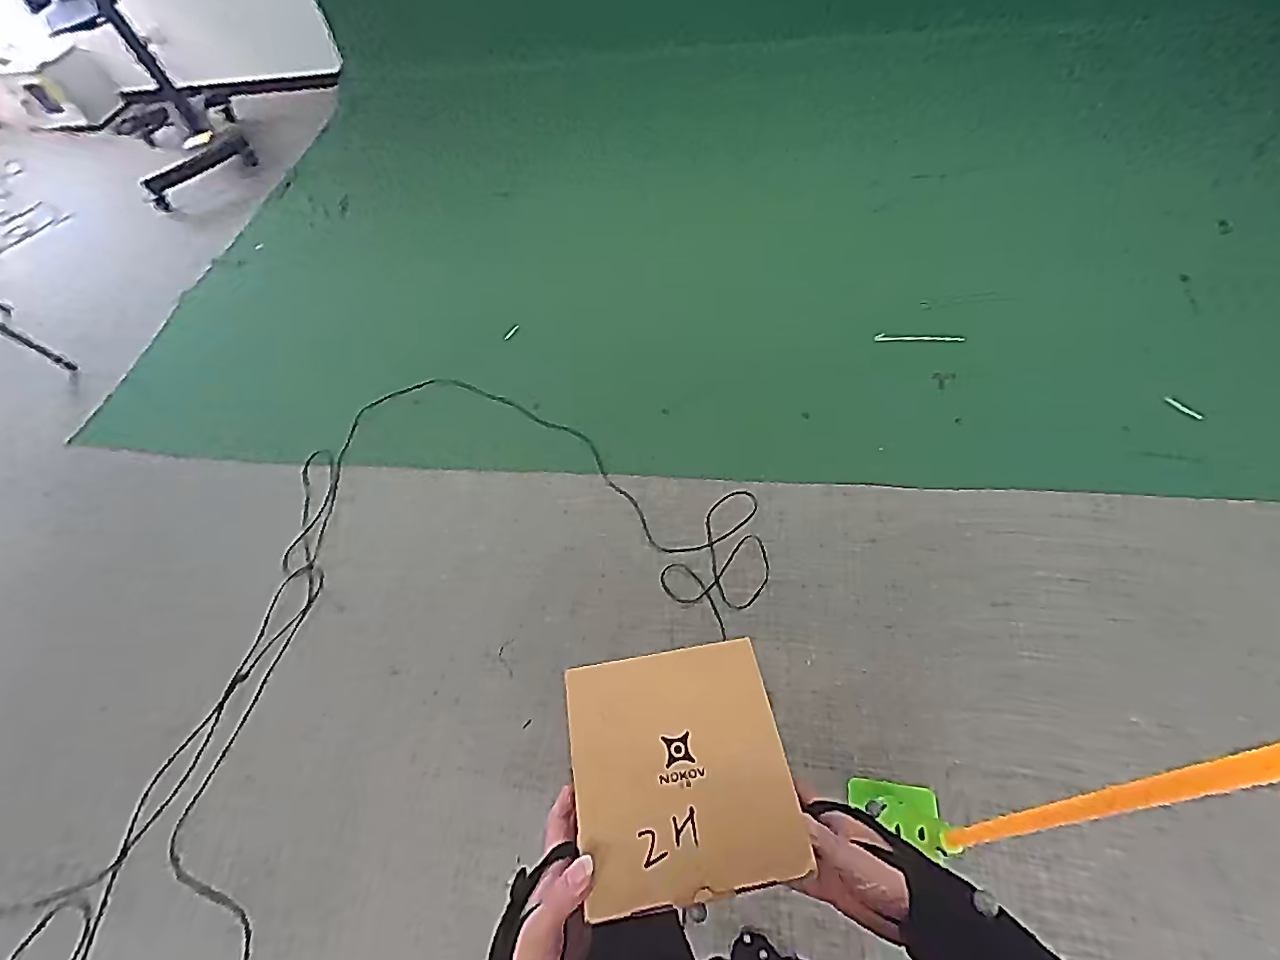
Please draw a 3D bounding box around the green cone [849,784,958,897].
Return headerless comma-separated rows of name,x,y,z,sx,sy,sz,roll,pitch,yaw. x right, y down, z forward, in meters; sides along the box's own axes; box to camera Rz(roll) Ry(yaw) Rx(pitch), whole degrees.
green cone,0.572,0.742,1.112,0.202,0.368,0.200,3,59,10
